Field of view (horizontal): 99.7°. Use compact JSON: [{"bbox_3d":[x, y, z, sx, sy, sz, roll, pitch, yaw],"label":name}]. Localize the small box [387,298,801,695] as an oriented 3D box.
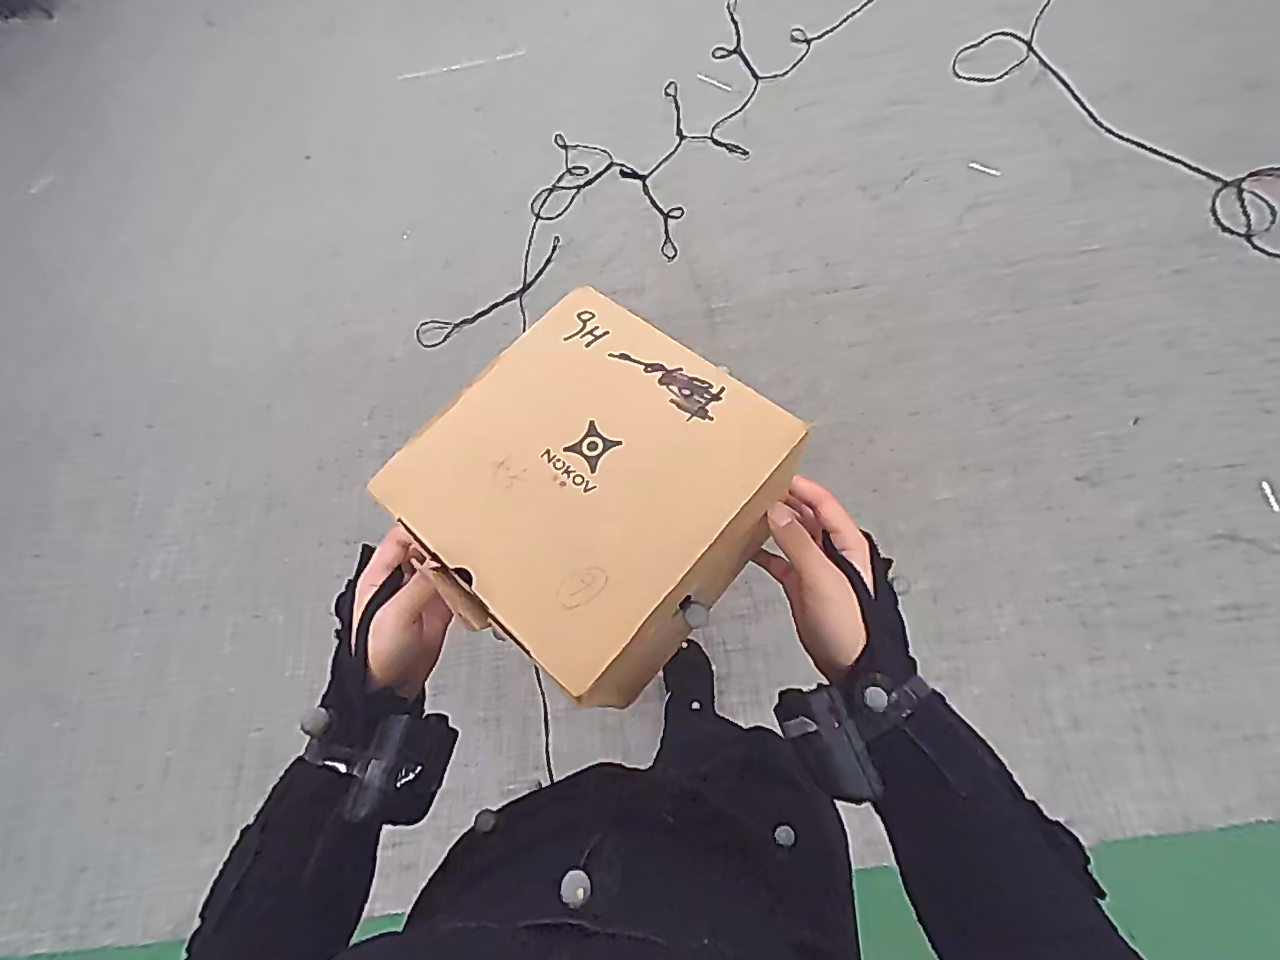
[{"bbox_3d":[-0.018,0.024,0.366,0.168,0.176,0.179,38,76,20],"label":"small box"}]
